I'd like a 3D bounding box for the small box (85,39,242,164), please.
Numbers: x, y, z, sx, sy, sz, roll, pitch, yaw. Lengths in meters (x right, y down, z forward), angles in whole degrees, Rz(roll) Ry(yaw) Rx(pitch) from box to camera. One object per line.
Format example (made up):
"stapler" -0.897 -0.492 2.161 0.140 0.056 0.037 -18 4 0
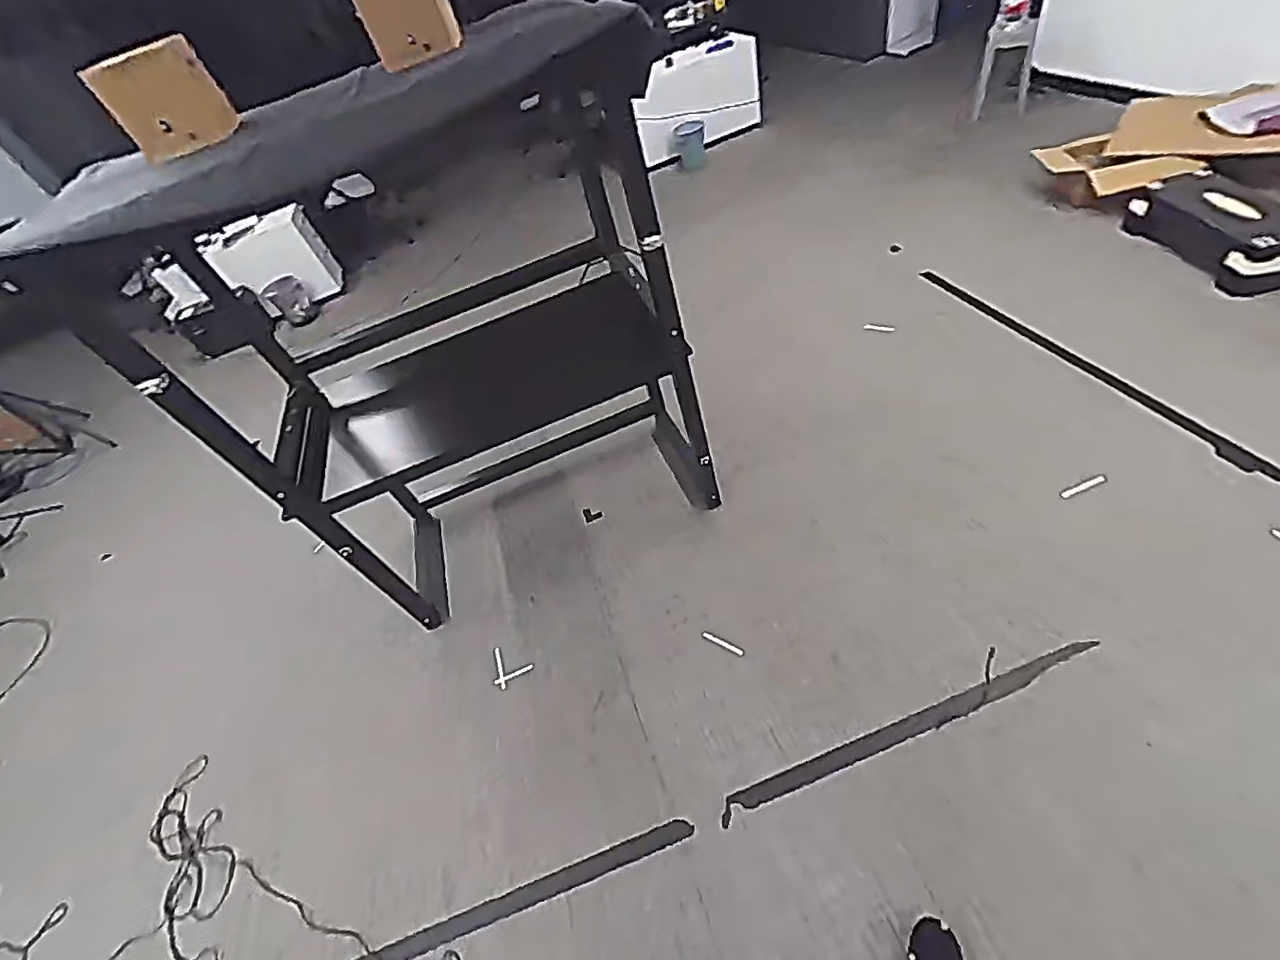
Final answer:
"small box" -0.991 -0.798 1.146 0.168 0.176 0.179 -24 48 -4
